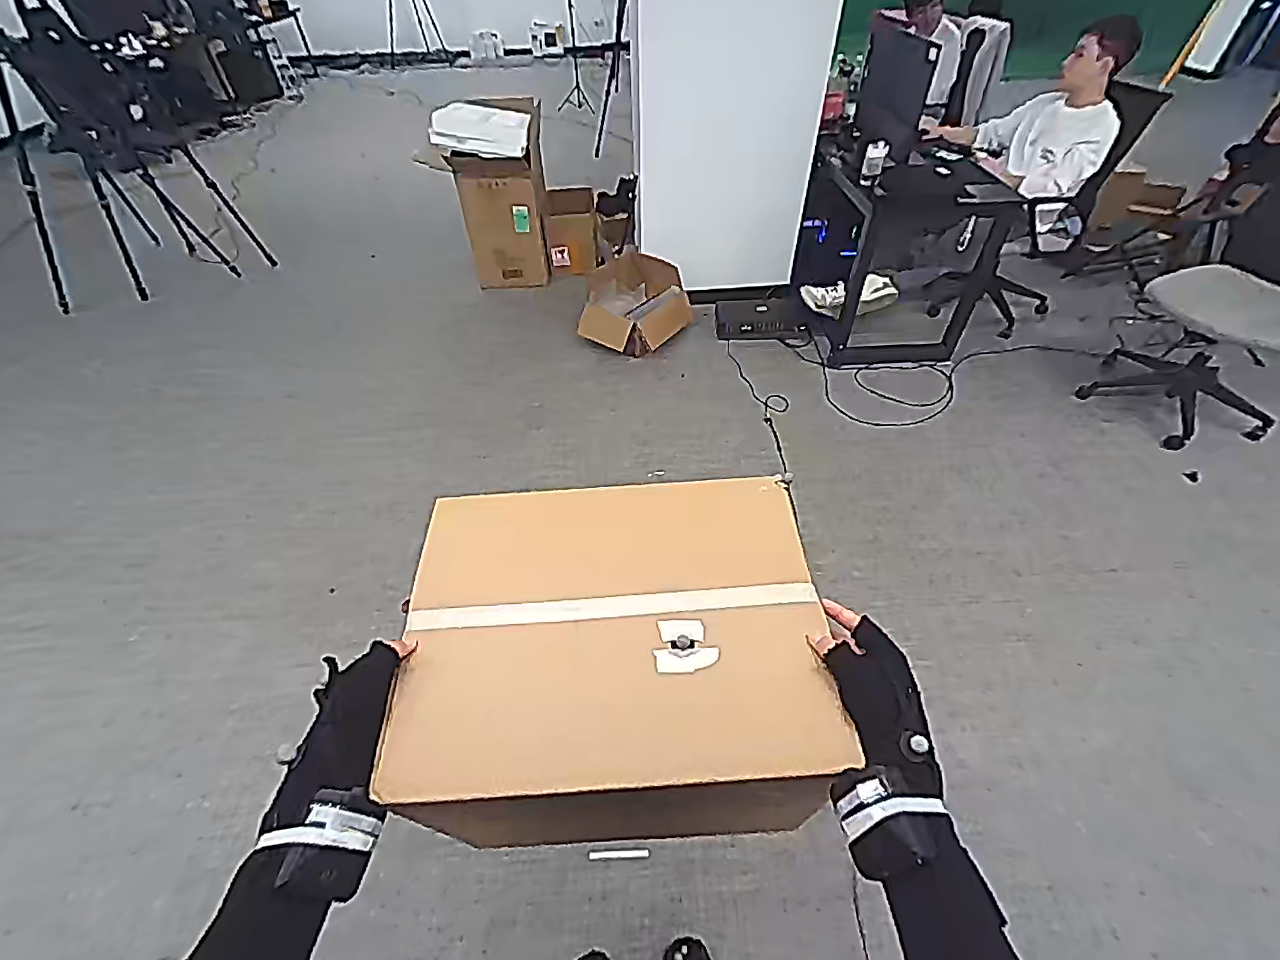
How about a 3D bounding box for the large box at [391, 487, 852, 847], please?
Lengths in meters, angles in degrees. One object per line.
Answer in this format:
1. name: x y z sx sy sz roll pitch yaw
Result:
1. large box: -0.020 0.234 0.665 0.408 0.320 0.320 -3 50 0
